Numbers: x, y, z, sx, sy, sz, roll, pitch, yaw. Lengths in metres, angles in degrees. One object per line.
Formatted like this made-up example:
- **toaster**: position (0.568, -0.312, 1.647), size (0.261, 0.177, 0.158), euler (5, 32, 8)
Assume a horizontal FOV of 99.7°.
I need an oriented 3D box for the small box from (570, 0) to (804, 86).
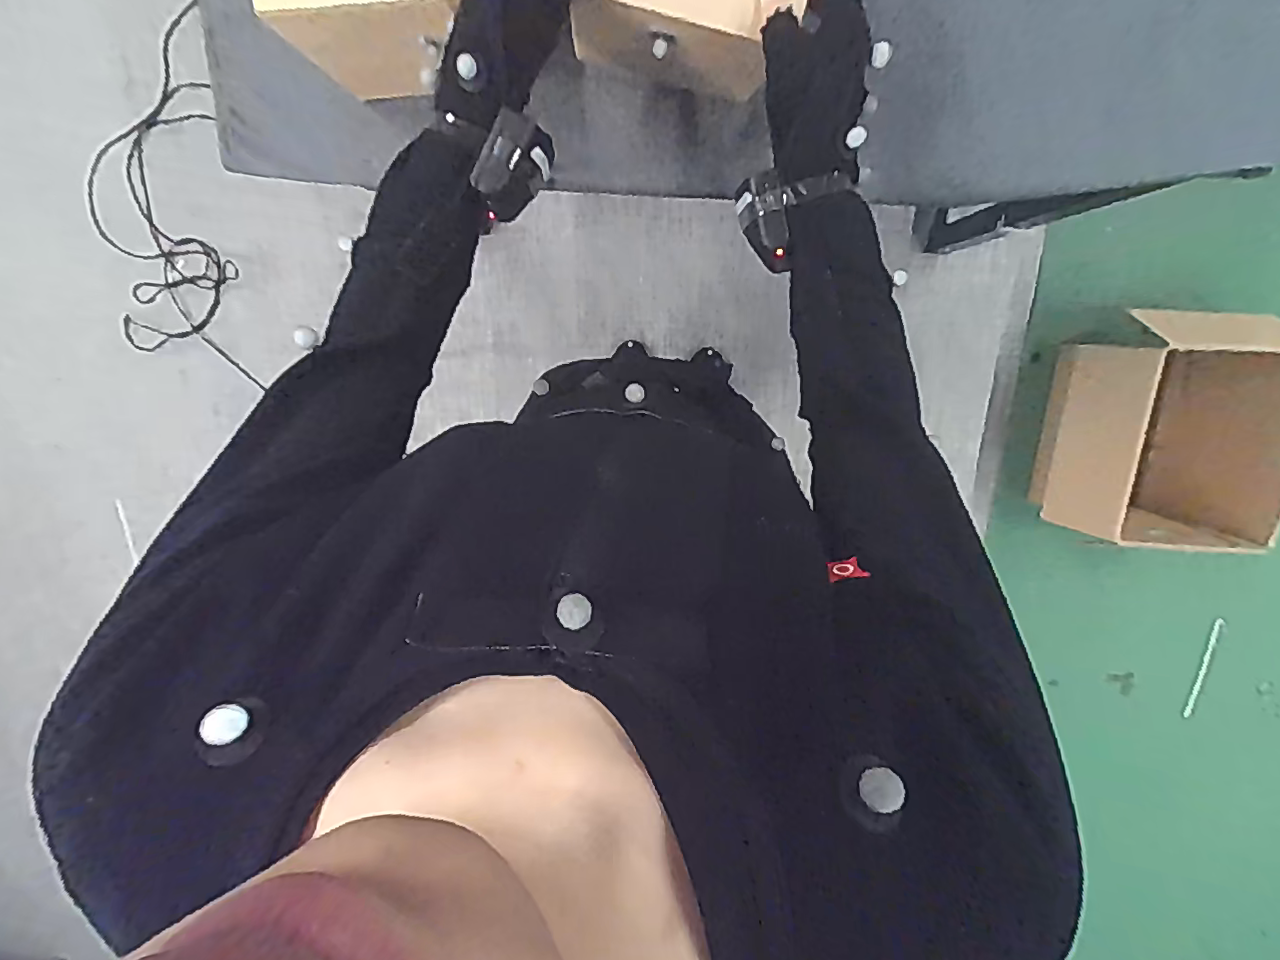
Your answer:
- **small box**: position (0.040, -0.442, 0.426), size (0.179, 0.176, 0.168), euler (9, 114, -9)
